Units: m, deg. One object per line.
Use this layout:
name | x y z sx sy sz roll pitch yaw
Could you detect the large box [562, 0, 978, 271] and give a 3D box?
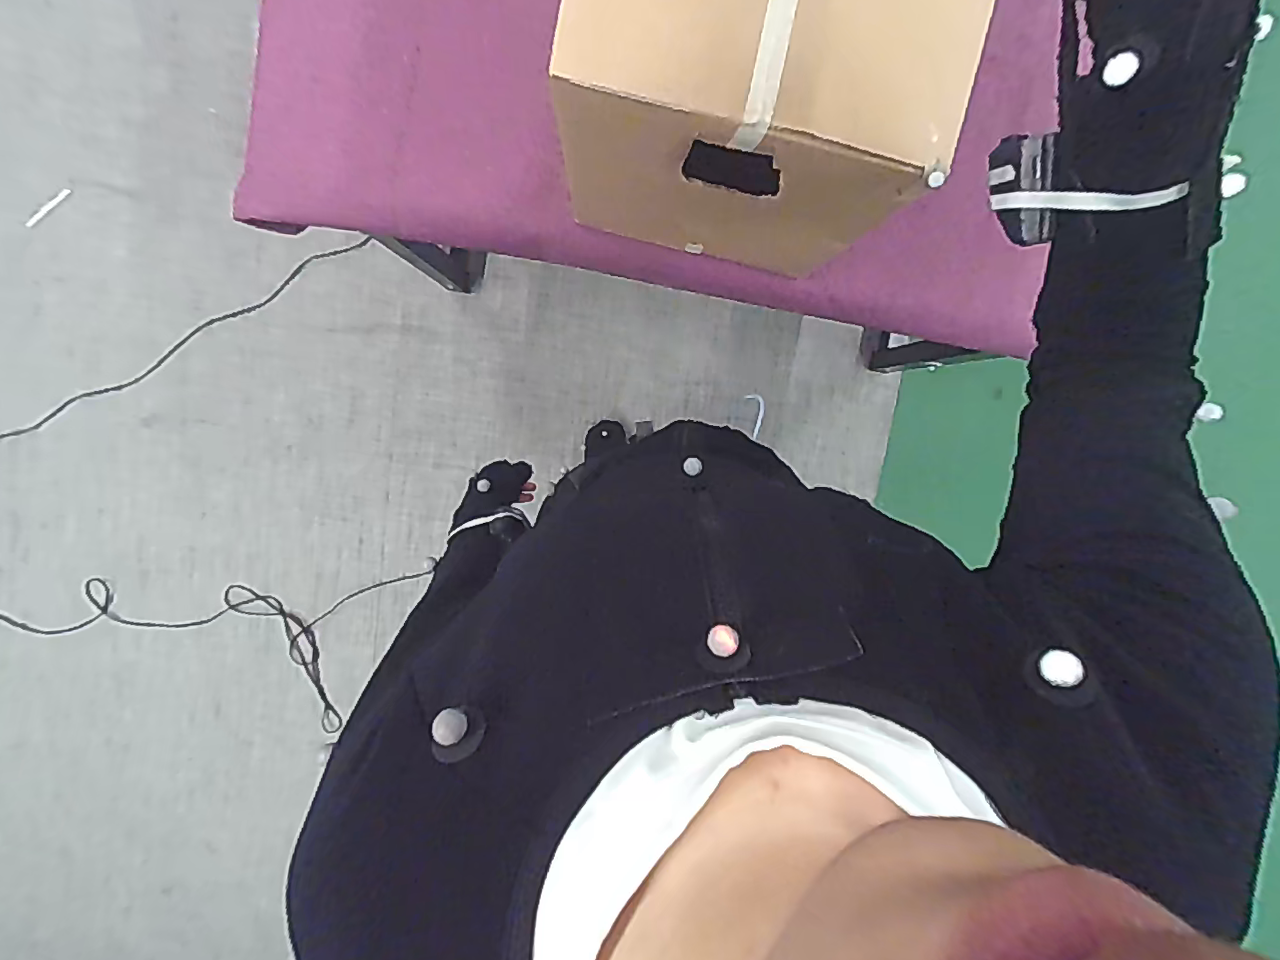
large box | 0.118 -0.482 0.548 0.320 0.320 0.408 12 97 -4
